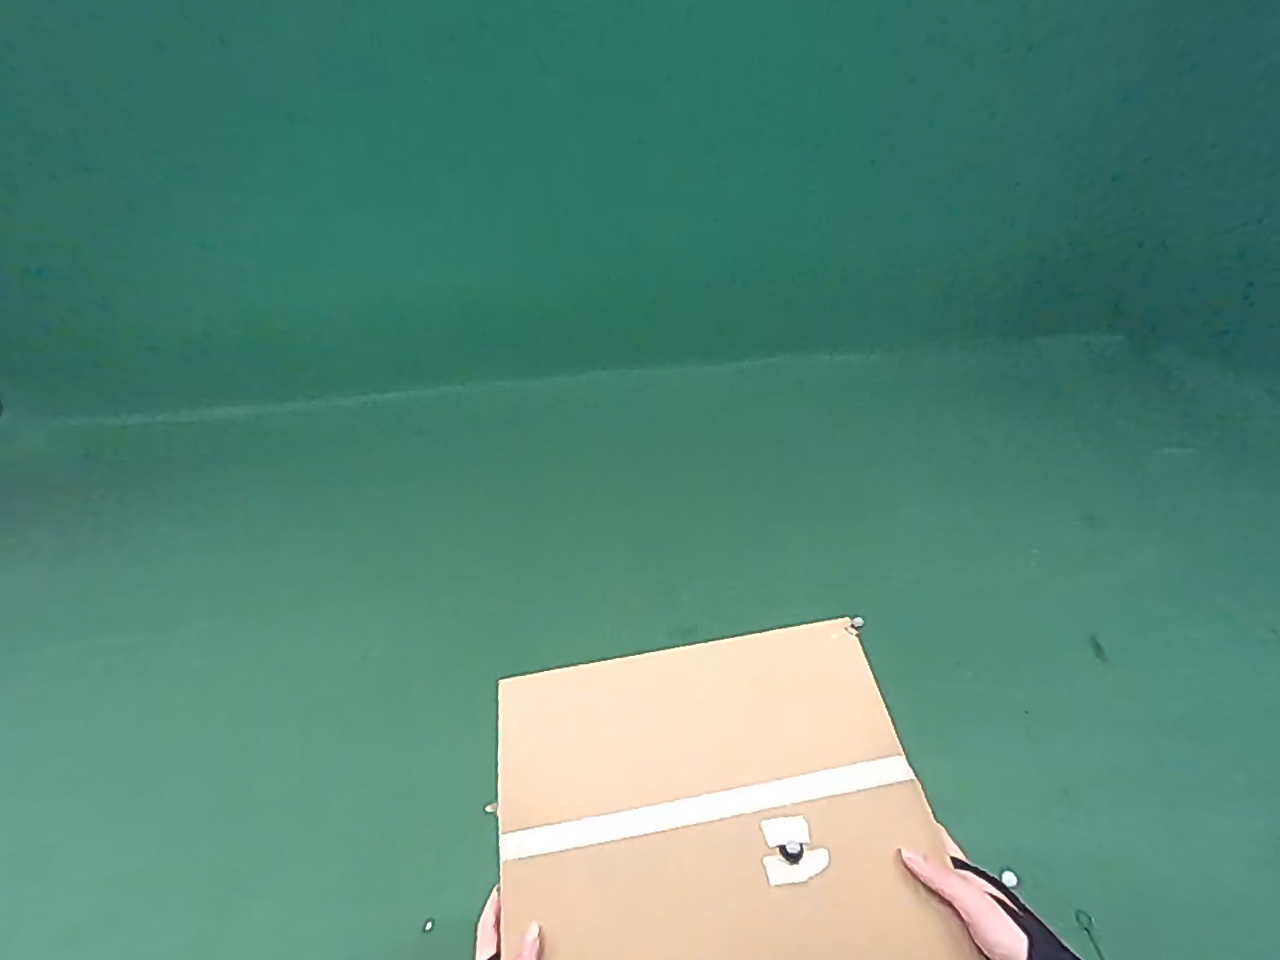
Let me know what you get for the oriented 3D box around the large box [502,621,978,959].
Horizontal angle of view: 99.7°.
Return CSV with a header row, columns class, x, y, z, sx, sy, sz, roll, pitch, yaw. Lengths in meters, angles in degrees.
class,x,y,z,sx,sy,sz,roll,pitch,yaw
large box,0.074,0.407,0.649,0.408,0.320,0.320,-10,55,-3
